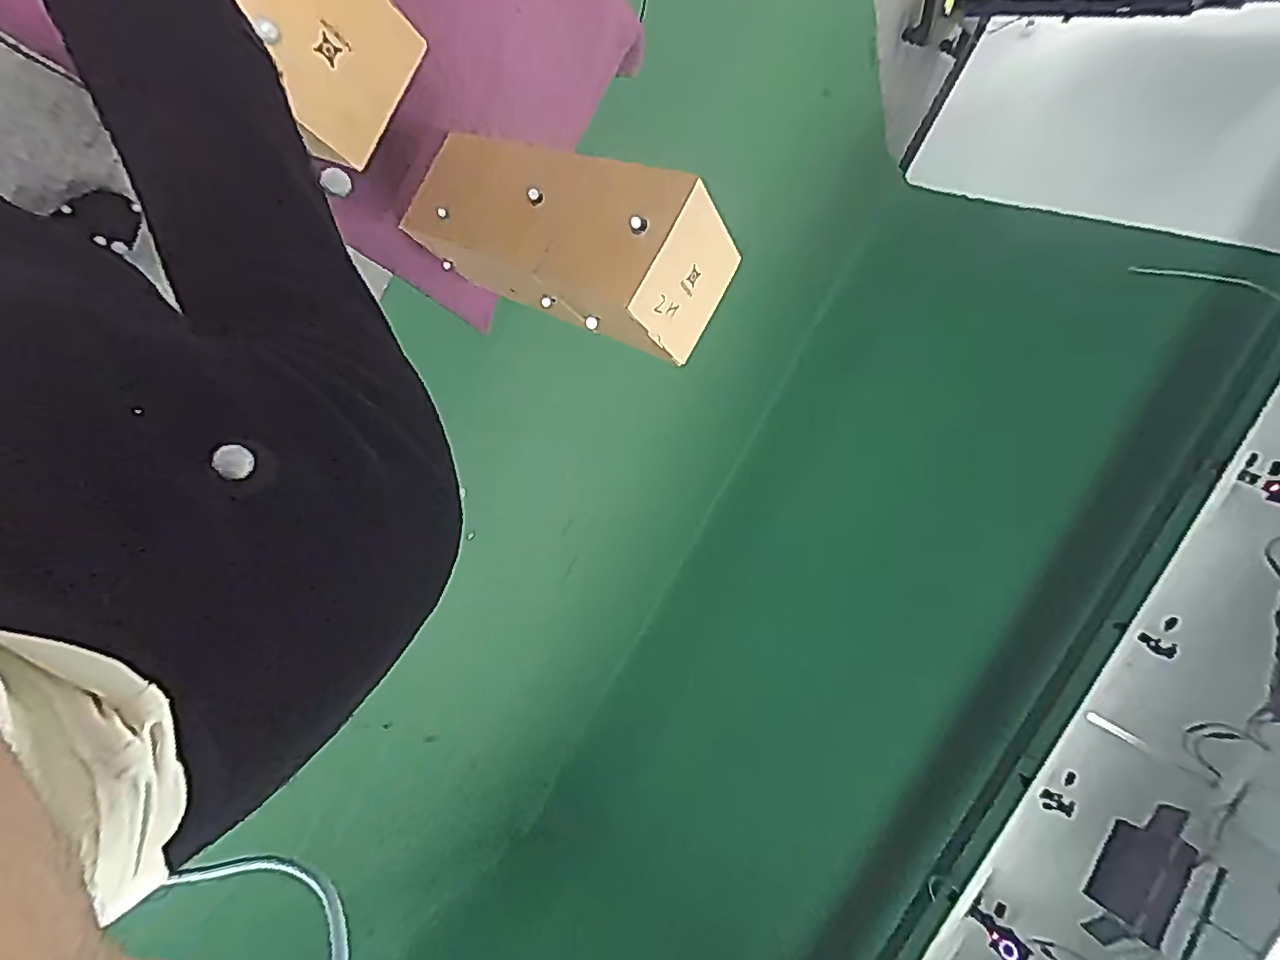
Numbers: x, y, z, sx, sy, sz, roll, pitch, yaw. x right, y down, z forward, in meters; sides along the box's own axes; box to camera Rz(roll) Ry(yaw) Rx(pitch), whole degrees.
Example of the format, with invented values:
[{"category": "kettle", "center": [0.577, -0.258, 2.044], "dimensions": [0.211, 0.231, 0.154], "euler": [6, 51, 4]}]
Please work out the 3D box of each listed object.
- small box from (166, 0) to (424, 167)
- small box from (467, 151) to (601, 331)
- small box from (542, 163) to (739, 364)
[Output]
[{"category": "small box", "center": [-0.393, -0.499, 0.616], "dimensions": [0.179, 0.176, 0.168], "euler": [-62, 150, 1]}, {"category": "small box", "center": [-0.124, -0.358, 0.810], "dimensions": [0.179, 0.176, 0.168], "euler": [-61, 149, 0]}, {"category": "small box", "center": [0.001, -0.290, 0.726], "dimensions": [0.179, 0.176, 0.168], "euler": [-60, 149, 2]}]
